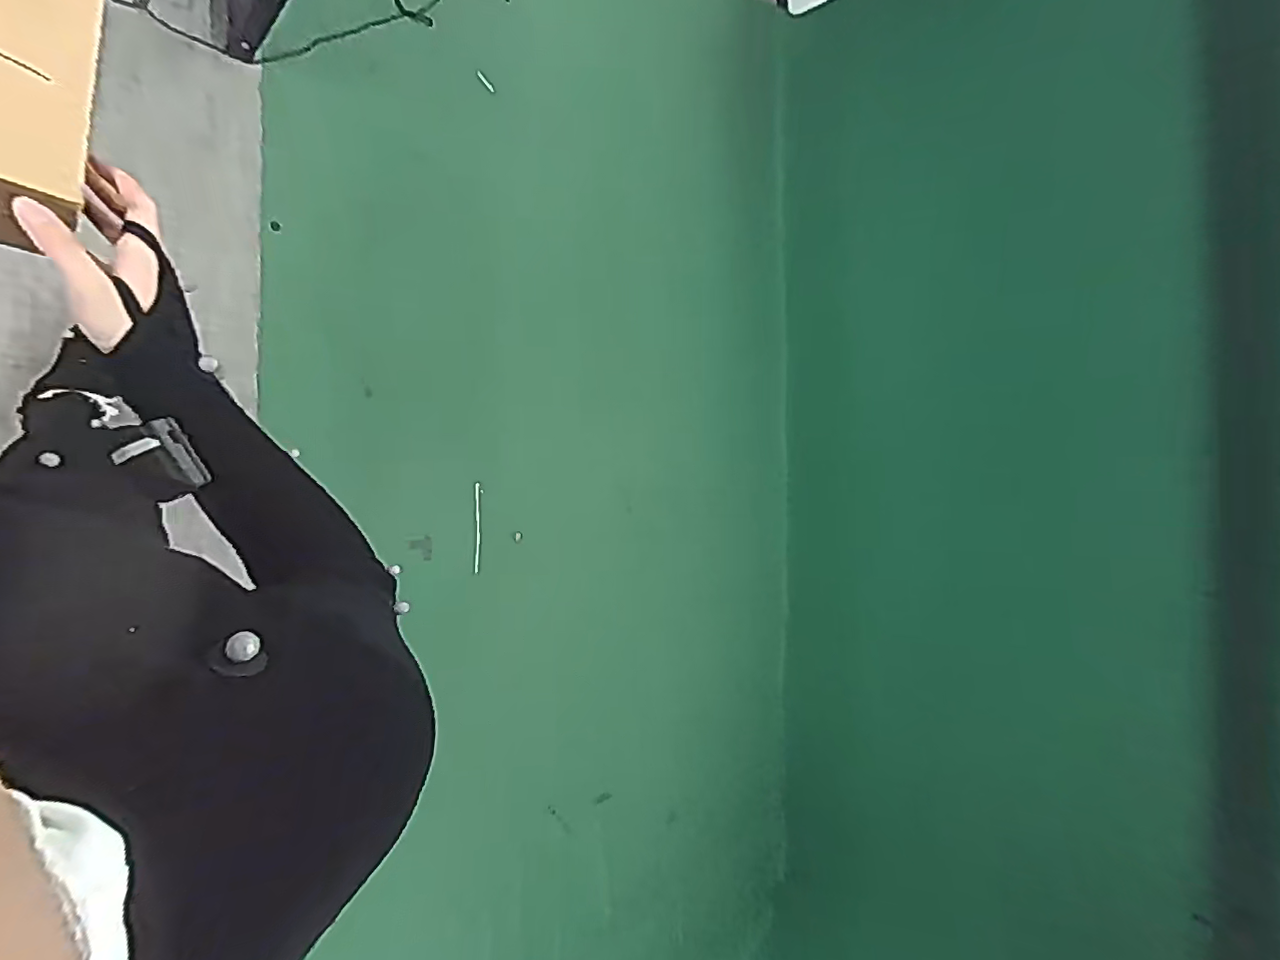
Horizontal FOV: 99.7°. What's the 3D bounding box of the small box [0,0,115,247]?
[{"bbox_3d":[-0.505,-0.288,0.378,0.179,0.176,0.168,7,86,-49],"label":"small box"}]
